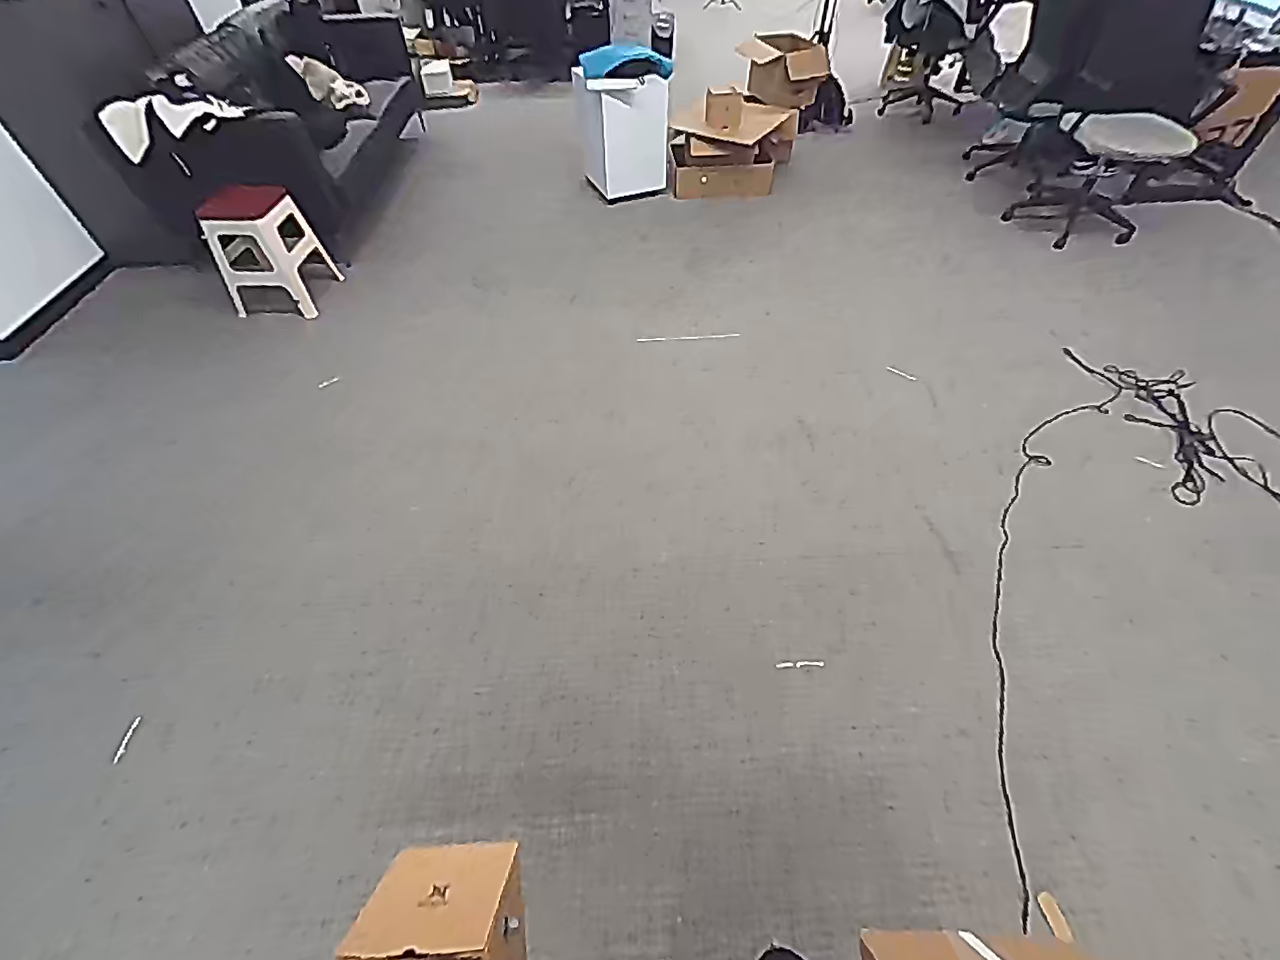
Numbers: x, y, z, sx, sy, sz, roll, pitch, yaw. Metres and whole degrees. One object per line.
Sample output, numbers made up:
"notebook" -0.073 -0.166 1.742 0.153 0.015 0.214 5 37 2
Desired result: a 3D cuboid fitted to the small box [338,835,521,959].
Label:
"small box" -0.247 0.584 0.674 0.168 0.179 0.176 -3 93 0
